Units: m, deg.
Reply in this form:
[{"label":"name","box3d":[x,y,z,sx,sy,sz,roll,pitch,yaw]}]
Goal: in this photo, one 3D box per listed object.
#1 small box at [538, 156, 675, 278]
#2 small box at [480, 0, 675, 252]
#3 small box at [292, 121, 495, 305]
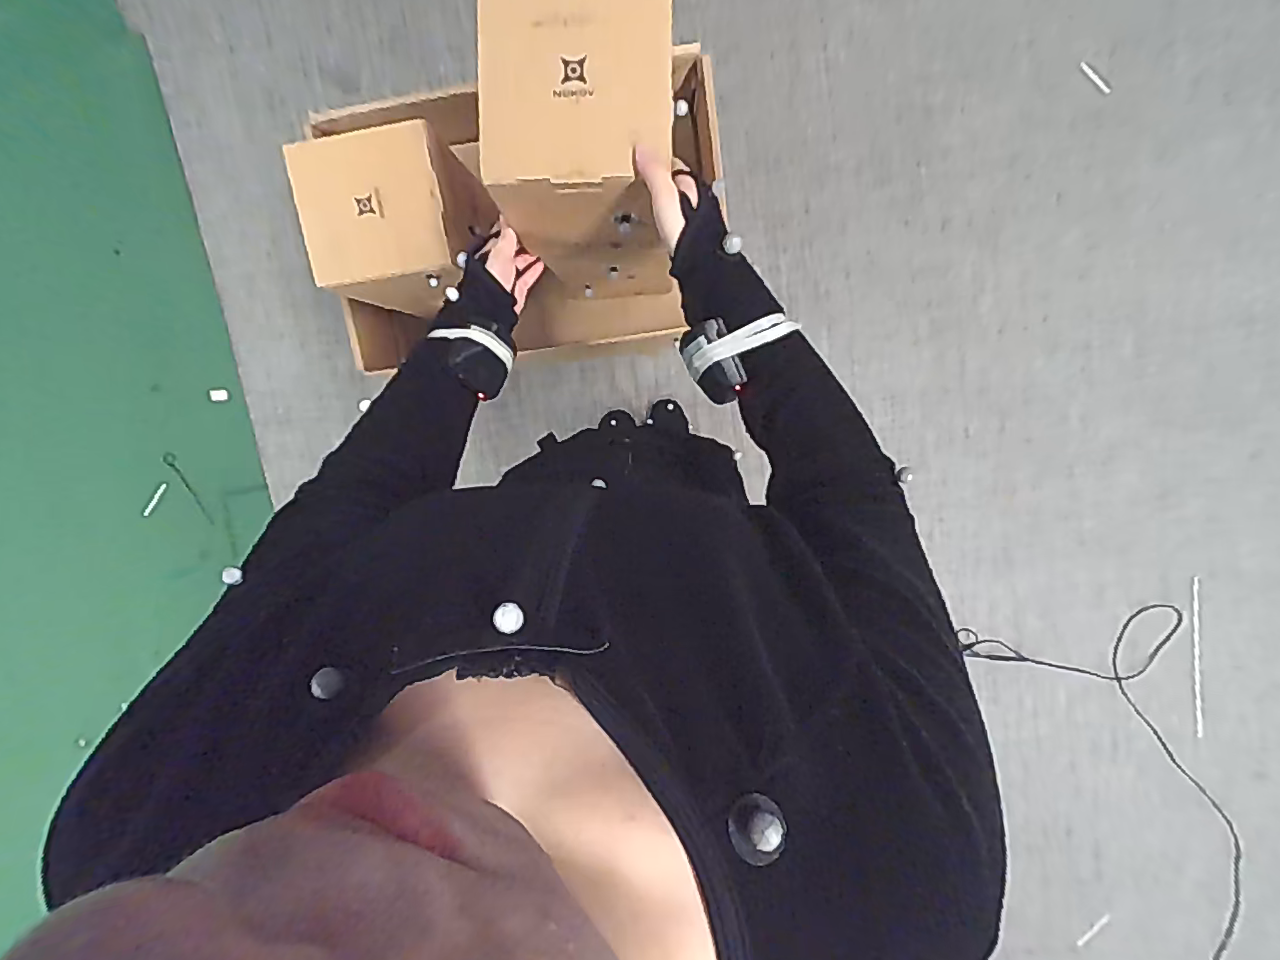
[{"label":"small box","box3d":[-0.038,-0.368,0.710,0.168,0.176,0.179,-1,99,3]},{"label":"small box","box3d":[-0.050,-0.342,0.540,0.168,0.176,0.179,1,91,3]},{"label":"small box","box3d":[-0.318,-0.344,0.731,0.179,0.176,0.168,-9,99,3]}]
